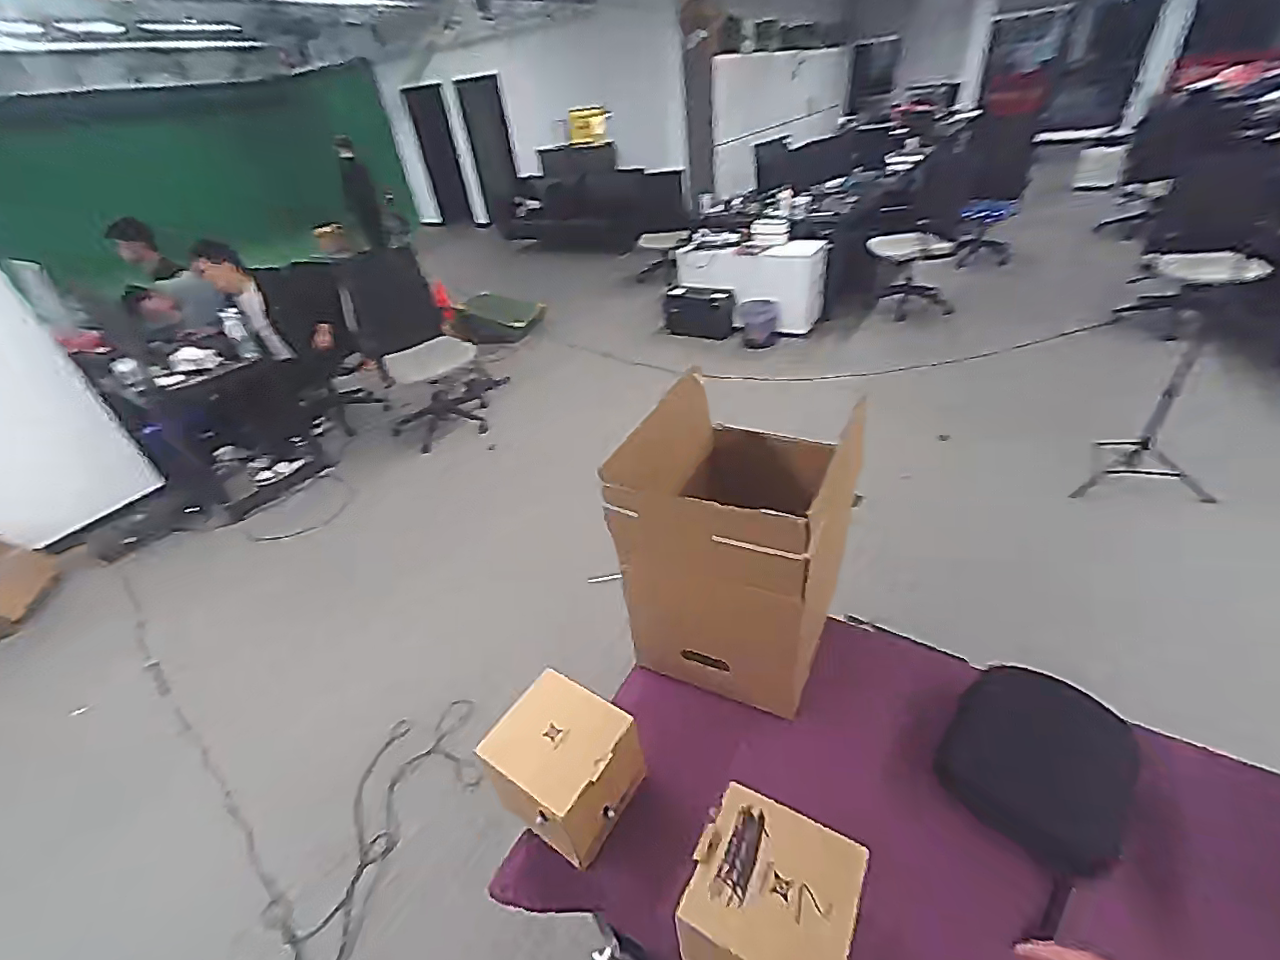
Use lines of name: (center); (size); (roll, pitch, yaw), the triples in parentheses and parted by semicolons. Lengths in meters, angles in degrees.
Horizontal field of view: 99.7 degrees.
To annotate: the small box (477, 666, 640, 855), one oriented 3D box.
small box: (-0.117, 0.433, 0.838); (0.179, 0.176, 0.168); (19, 43, 29)
